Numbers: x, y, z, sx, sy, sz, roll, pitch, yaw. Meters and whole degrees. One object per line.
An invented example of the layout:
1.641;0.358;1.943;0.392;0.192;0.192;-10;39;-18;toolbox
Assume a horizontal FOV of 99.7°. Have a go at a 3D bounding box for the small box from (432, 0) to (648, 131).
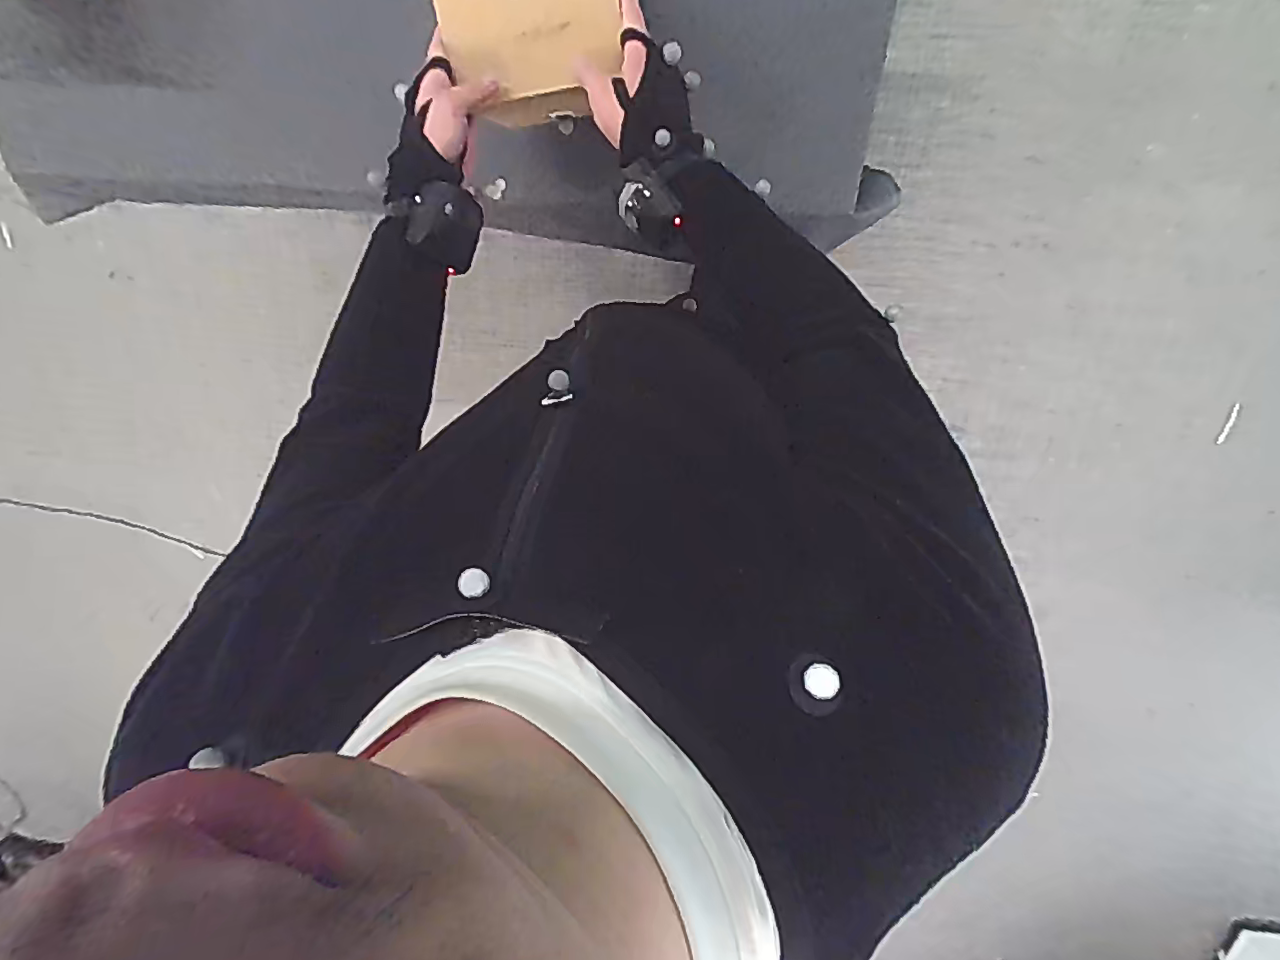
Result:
-0.088;-0.453;0.515;0.168;0.176;0.179;-2;117;10;small box
